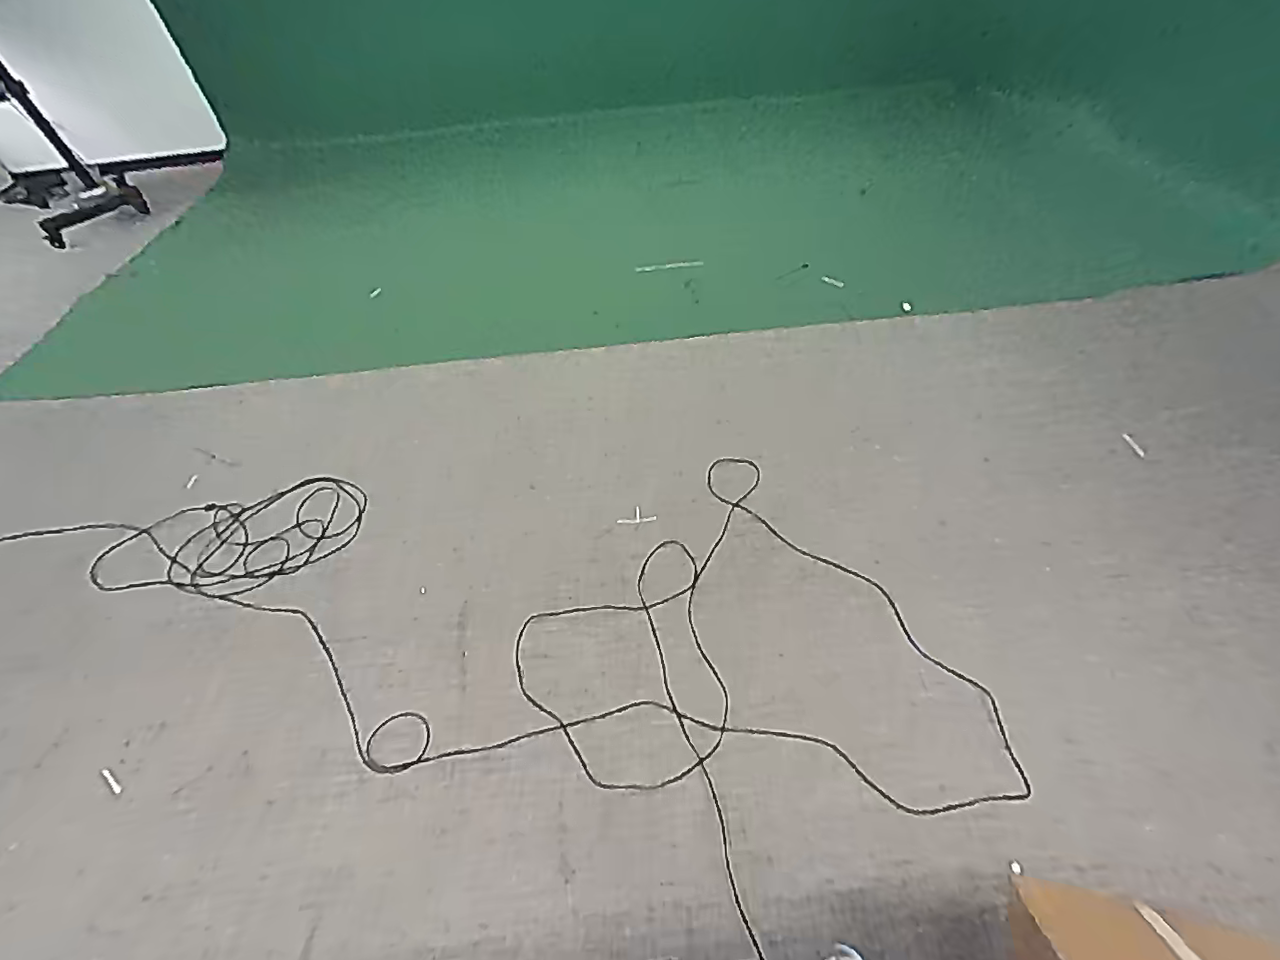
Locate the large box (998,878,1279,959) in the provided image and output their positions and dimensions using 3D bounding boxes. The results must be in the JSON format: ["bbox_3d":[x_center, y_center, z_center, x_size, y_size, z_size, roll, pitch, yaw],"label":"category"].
[{"bbox_3d":[0.613,0.732,0.559,0.320,0.408,0.320,6,87,16],"label":"large box"}]
